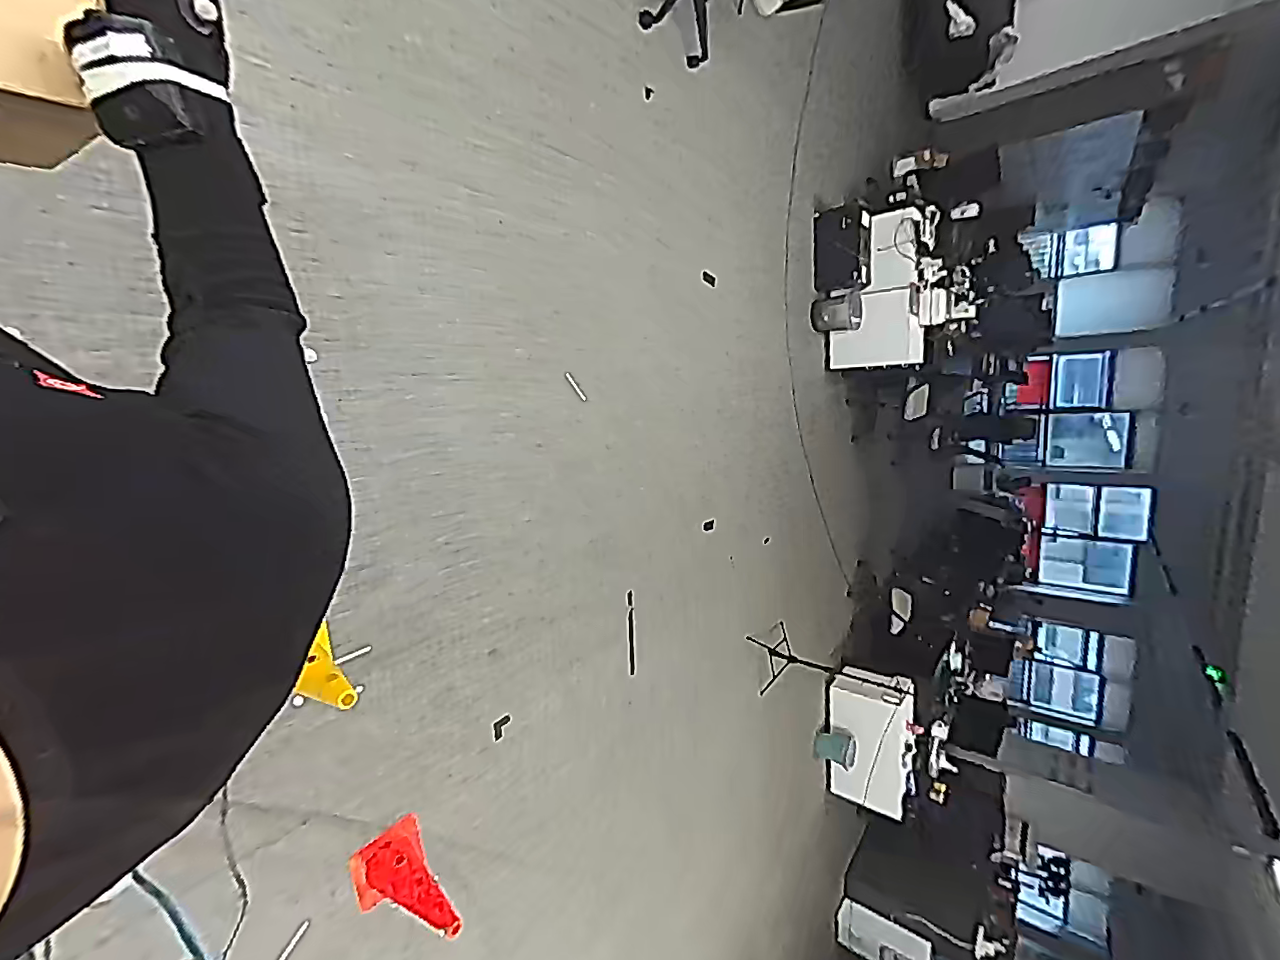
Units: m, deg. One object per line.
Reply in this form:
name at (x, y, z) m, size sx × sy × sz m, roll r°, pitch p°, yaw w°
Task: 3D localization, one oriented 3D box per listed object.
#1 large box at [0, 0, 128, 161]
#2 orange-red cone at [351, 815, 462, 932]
large box at (-0.593, -0.393, 0.267) m, size 0.408 × 0.320 × 0.320 m, roll -19°, pitch 118°, yaw -51°
orange-red cone at (-0.613, 1.136, 1.498) m, size 0.198 × 0.360 × 0.199 m, roll -19°, pitch 107°, yaw -50°
